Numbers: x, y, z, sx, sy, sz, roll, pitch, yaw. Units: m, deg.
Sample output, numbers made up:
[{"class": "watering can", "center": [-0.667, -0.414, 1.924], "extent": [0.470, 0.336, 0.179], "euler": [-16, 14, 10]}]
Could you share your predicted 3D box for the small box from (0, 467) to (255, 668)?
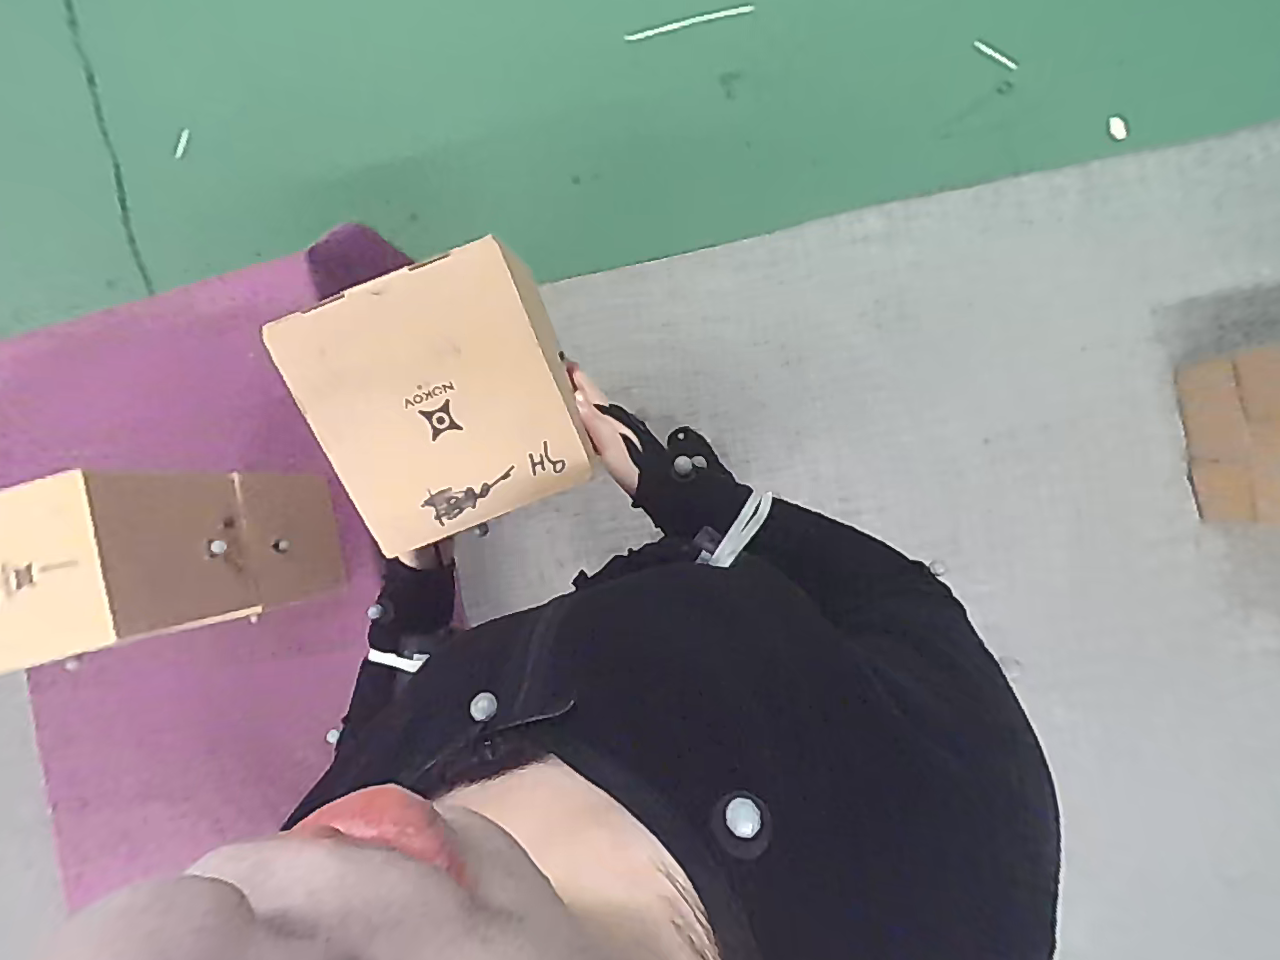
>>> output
[{"class": "small box", "center": [-0.566, 0.090, 0.578], "extent": [0.179, 0.176, 0.168], "euler": [-15, 87, 4]}]

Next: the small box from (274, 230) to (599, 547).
[{"class": "small box", "center": [-0.139, -0.074, 0.443], "extent": [0.168, 0.176, 0.179], "euler": [-20, 104, 2]}]

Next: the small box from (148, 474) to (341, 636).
[{"class": "small box", "center": [-0.543, 0.094, 0.741], "extent": [0.168, 0.176, 0.179], "euler": [-12, 87, 4]}]

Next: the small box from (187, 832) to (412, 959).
[{"class": "small box", "center": [-0.434, 0.603, 0.712], "extent": [0.179, 0.176, 0.168], "euler": [-13, 86, 4]}]
